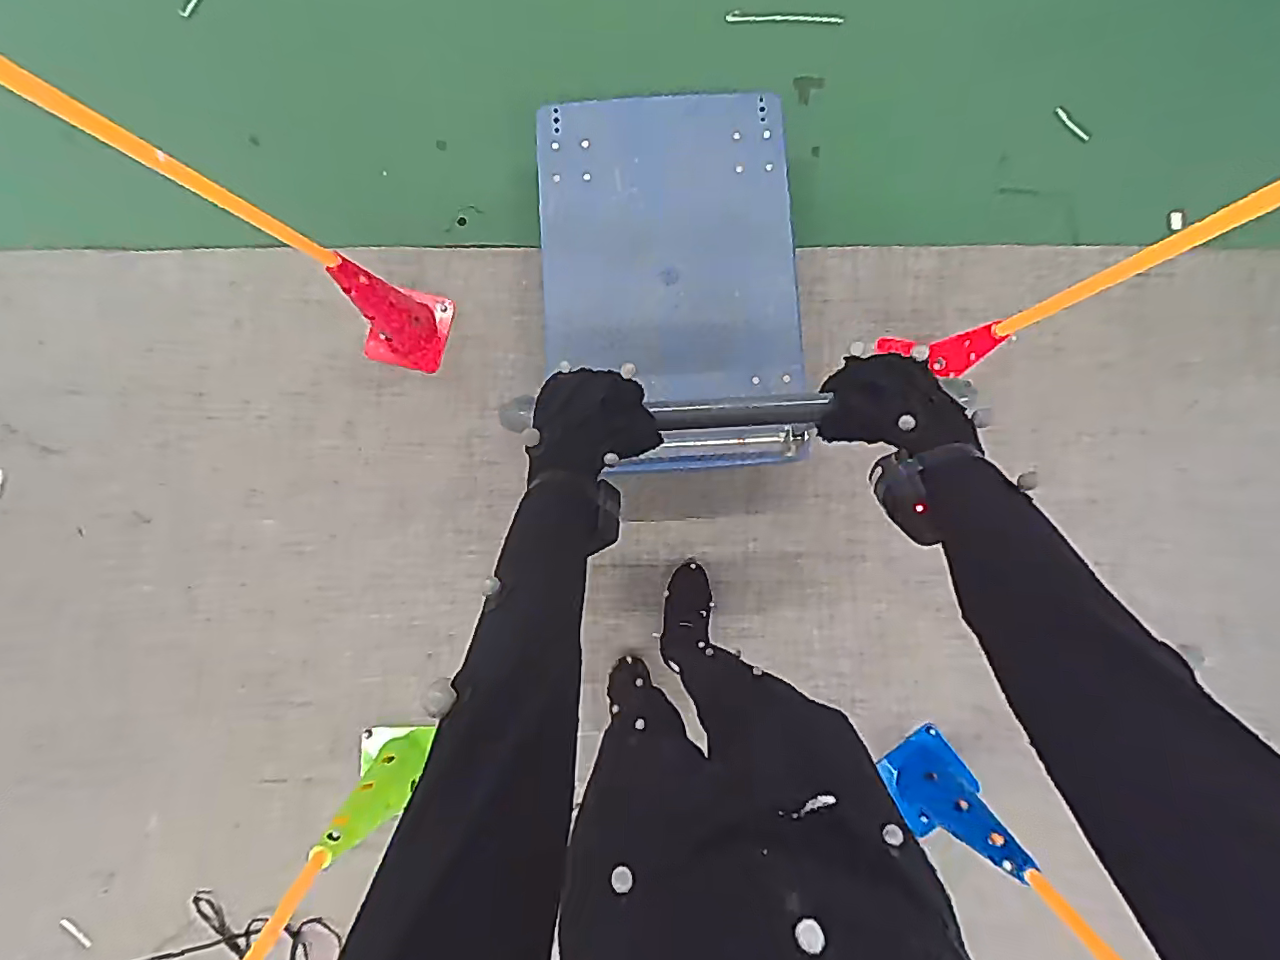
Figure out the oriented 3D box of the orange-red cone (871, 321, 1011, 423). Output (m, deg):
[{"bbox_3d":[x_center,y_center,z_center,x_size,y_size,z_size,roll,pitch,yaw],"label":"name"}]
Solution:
[{"bbox_3d":[0.698,-0.270,1.212,0.198,0.360,0.199,11,85,2],"label":"orange-red cone"}]
